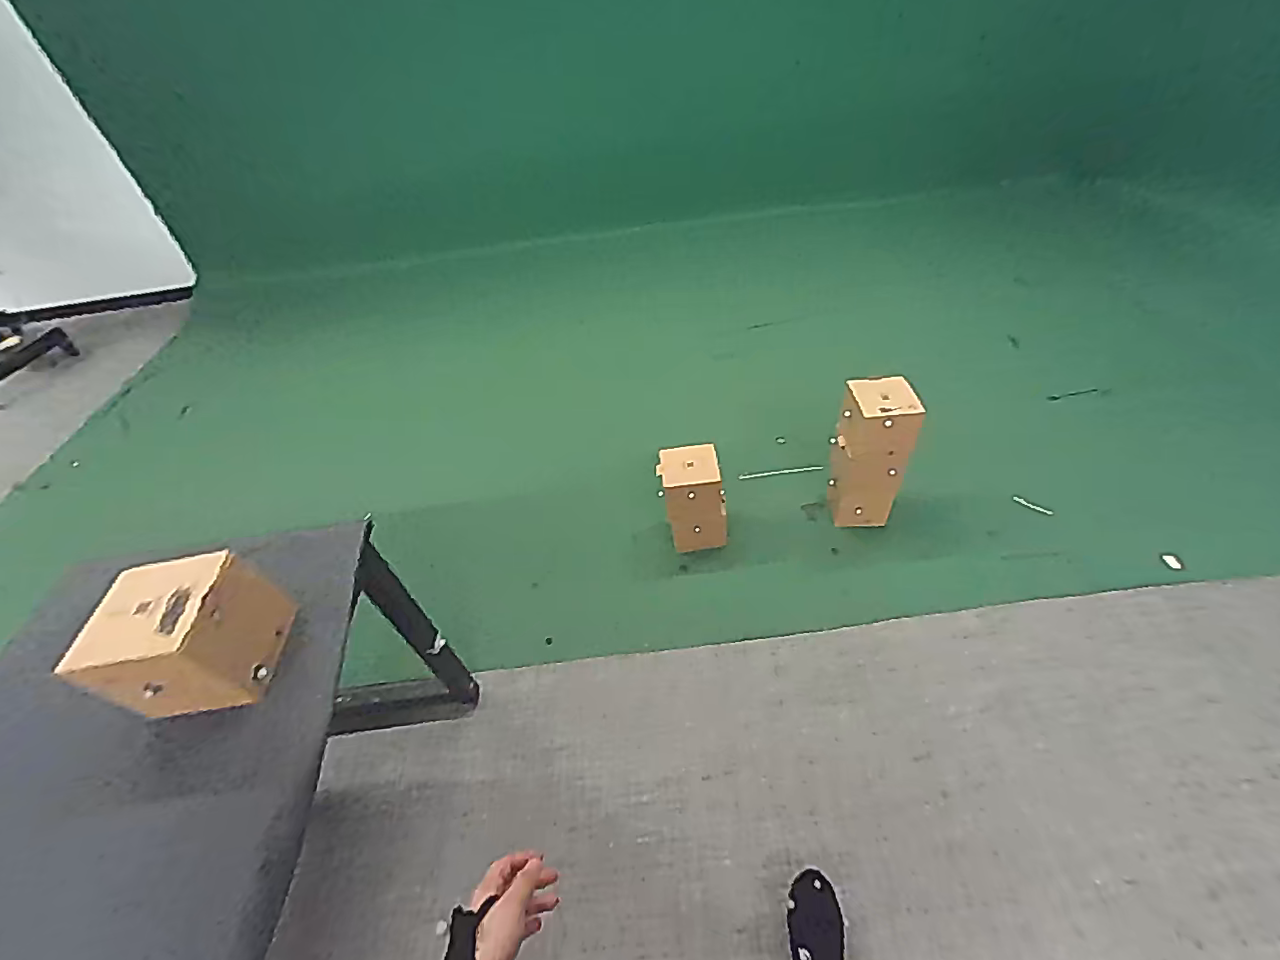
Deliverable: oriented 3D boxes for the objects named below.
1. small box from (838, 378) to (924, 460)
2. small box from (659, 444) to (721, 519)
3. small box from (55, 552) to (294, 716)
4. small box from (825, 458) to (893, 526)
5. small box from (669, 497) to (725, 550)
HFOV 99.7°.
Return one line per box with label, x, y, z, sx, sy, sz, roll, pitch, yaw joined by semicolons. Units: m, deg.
small box;0.698;-0.178;1.588;0.168;0.176;0.179;-4;45;2
small box;0.157;0.009;1.707;0.179;0.176;0.168;-6;47;1
small box;-0.664;0.232;0.803;0.179;0.176;0.168;-10;46;3
small box;0.734;0.042;1.830;0.168;0.176;0.179;-2;46;6
small box;0.186;0.120;1.824;0.179;0.176;0.168;-8;46;0
